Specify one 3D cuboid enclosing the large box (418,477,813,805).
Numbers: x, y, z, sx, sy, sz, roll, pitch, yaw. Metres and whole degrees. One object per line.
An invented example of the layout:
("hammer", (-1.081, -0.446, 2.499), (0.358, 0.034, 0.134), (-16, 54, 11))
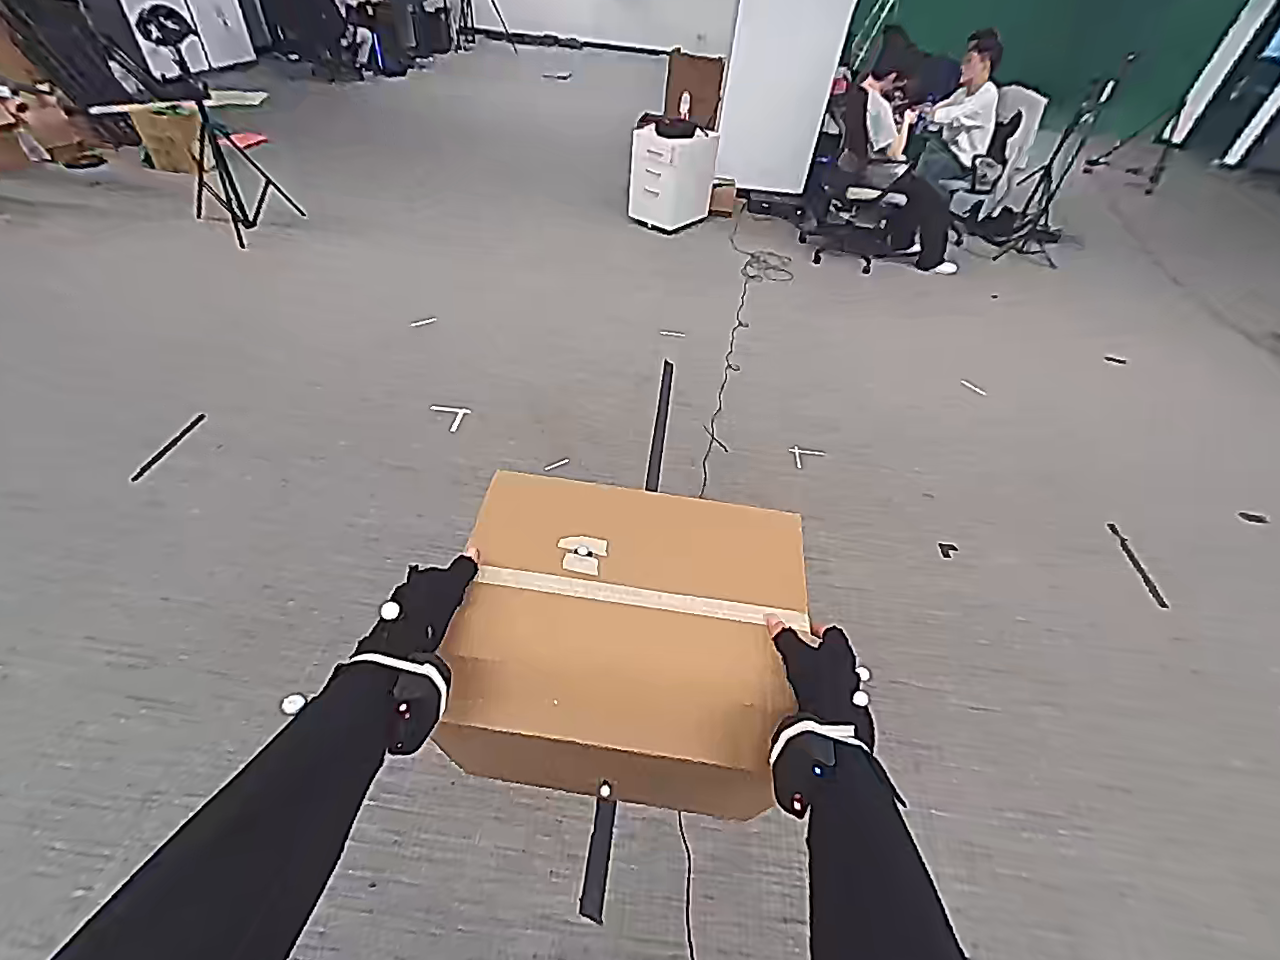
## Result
("large box", (-0.016, 0.230, 0.742), (0.408, 0.320, 0.320), (8, 51, 2))
